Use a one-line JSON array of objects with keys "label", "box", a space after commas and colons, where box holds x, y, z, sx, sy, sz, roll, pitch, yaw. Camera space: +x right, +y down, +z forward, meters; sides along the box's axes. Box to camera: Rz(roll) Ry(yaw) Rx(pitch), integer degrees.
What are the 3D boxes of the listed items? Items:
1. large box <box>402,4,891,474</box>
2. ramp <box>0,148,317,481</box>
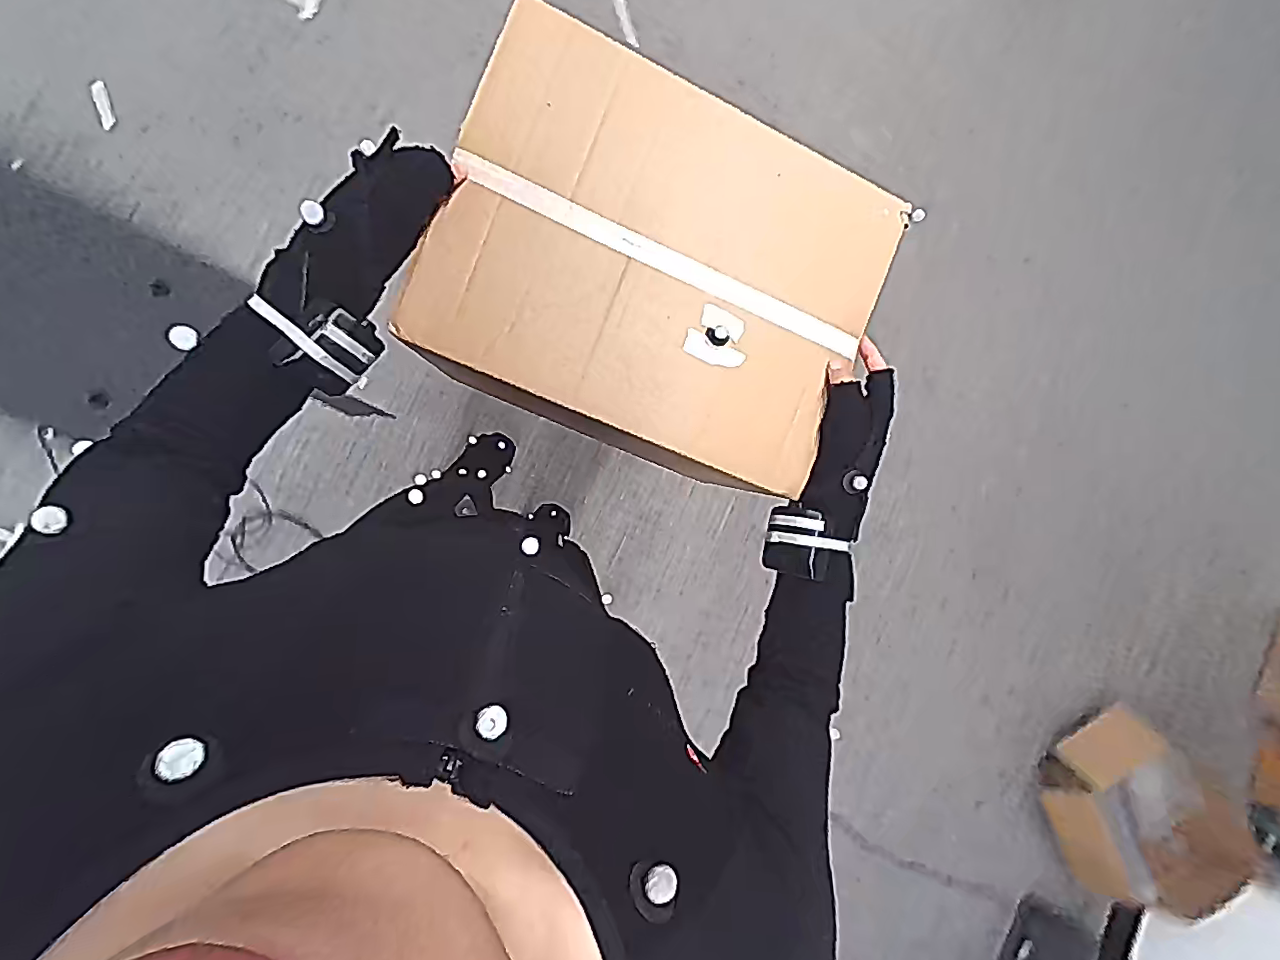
[{"label": "large box", "box": [-0.006, -0.219, 0.651, 0.408, 0.320, 0.320, 20, 90, -11]}, {"label": "ramp", "box": [-1.323, -0.420, 1.172, 0.991, 0.206, 0.509, 24, 84, -11]}]
